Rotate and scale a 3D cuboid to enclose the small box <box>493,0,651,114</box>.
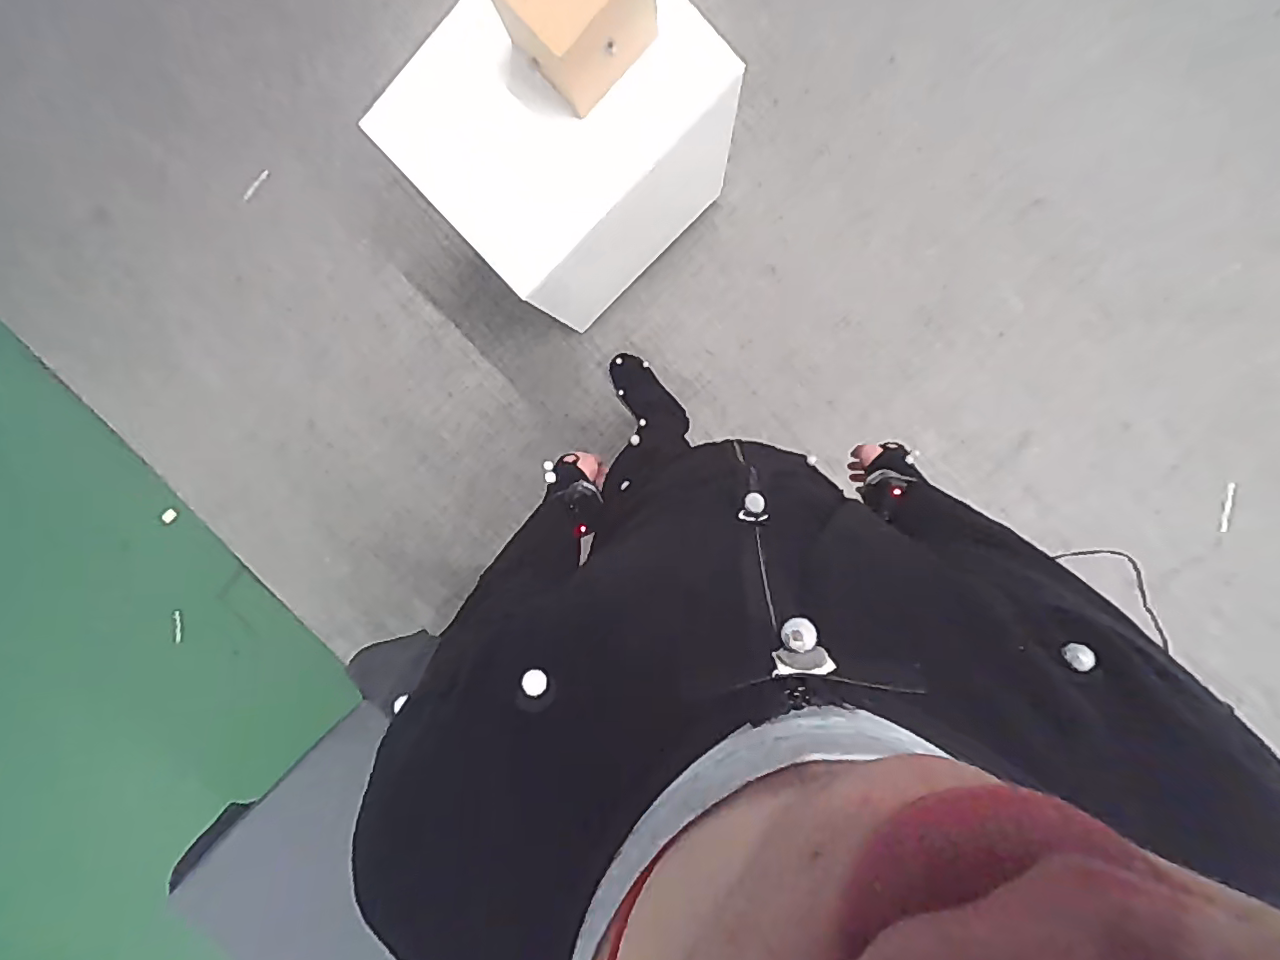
[{"bbox_3d":[-0.097,-0.677,0.760,0.179,0.176,0.168,-43,94,9],"label":"small box"}]
